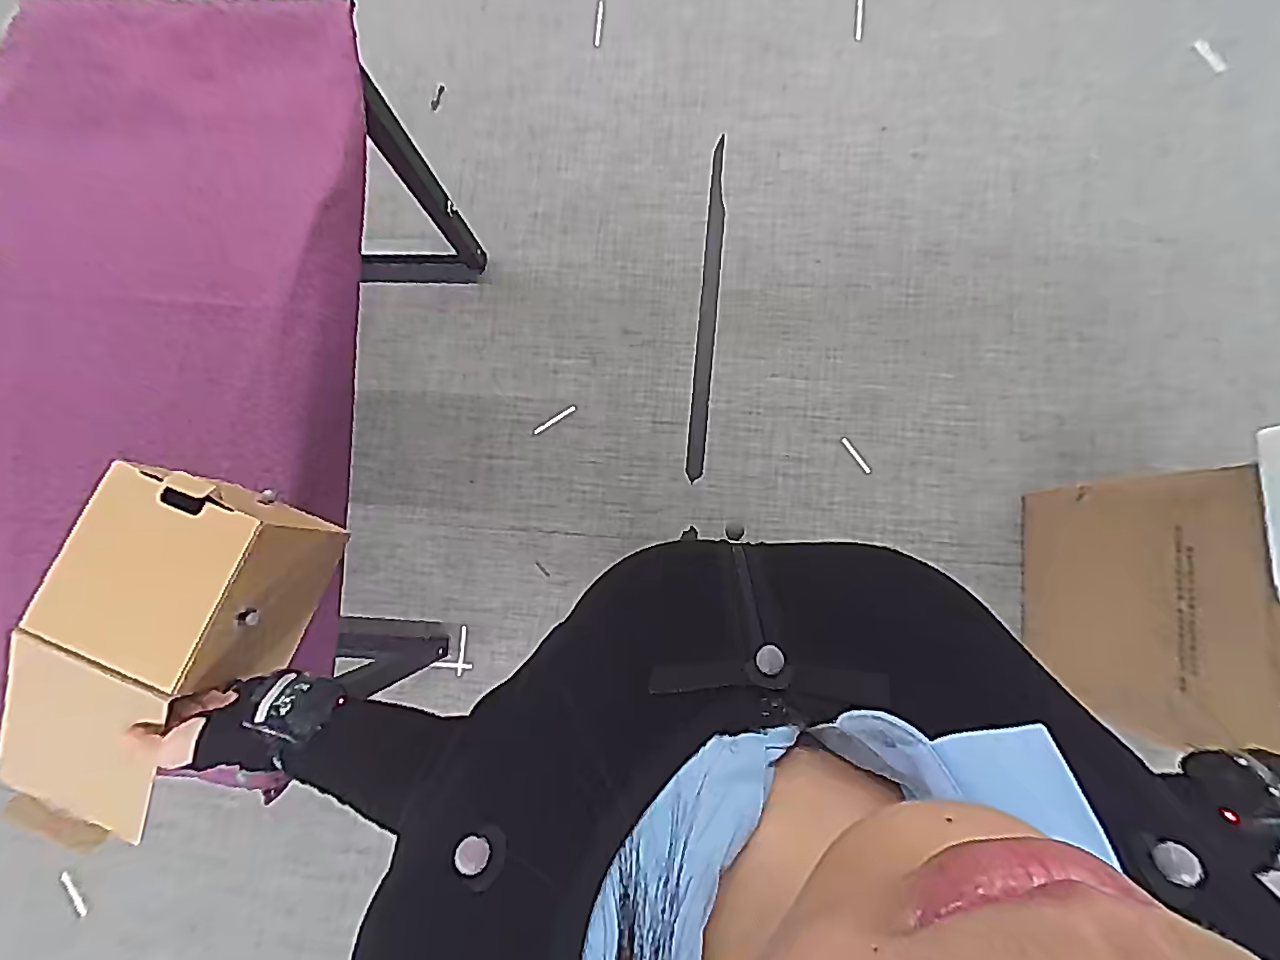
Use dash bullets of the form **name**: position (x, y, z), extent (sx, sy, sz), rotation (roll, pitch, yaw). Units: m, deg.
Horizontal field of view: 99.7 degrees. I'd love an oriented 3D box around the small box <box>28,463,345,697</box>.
- **small box**: position (-0.465, 0.105, 0.590), extent (0.168, 0.176, 0.179), rotation (22, 80, 3)
